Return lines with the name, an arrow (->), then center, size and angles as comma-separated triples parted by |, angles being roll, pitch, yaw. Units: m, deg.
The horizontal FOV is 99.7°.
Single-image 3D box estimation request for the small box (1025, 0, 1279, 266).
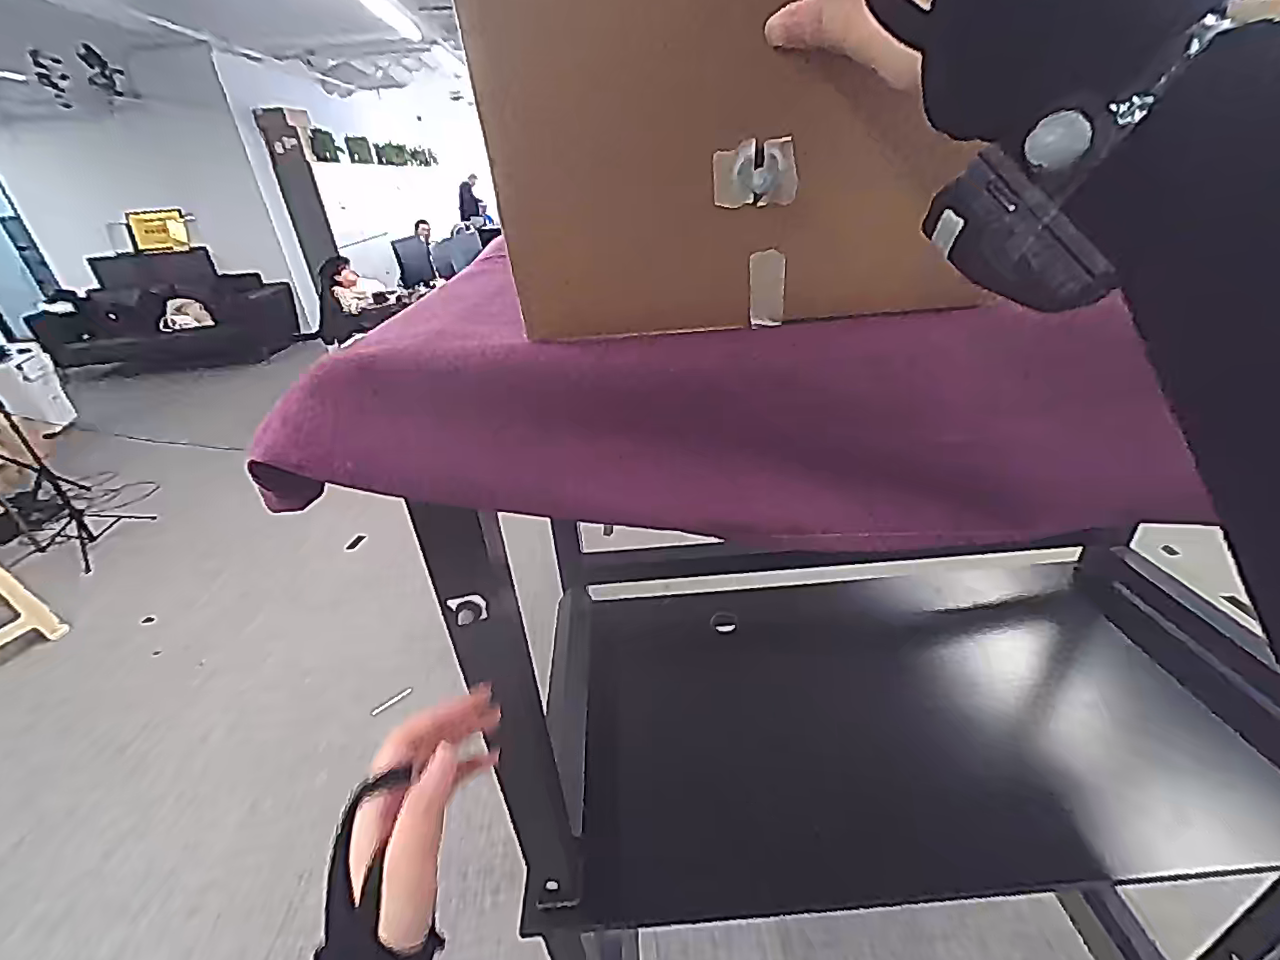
small box -> 0.423, -0.289, 0.463 | 0.179, 0.176, 0.168 | -8, 29, -5
